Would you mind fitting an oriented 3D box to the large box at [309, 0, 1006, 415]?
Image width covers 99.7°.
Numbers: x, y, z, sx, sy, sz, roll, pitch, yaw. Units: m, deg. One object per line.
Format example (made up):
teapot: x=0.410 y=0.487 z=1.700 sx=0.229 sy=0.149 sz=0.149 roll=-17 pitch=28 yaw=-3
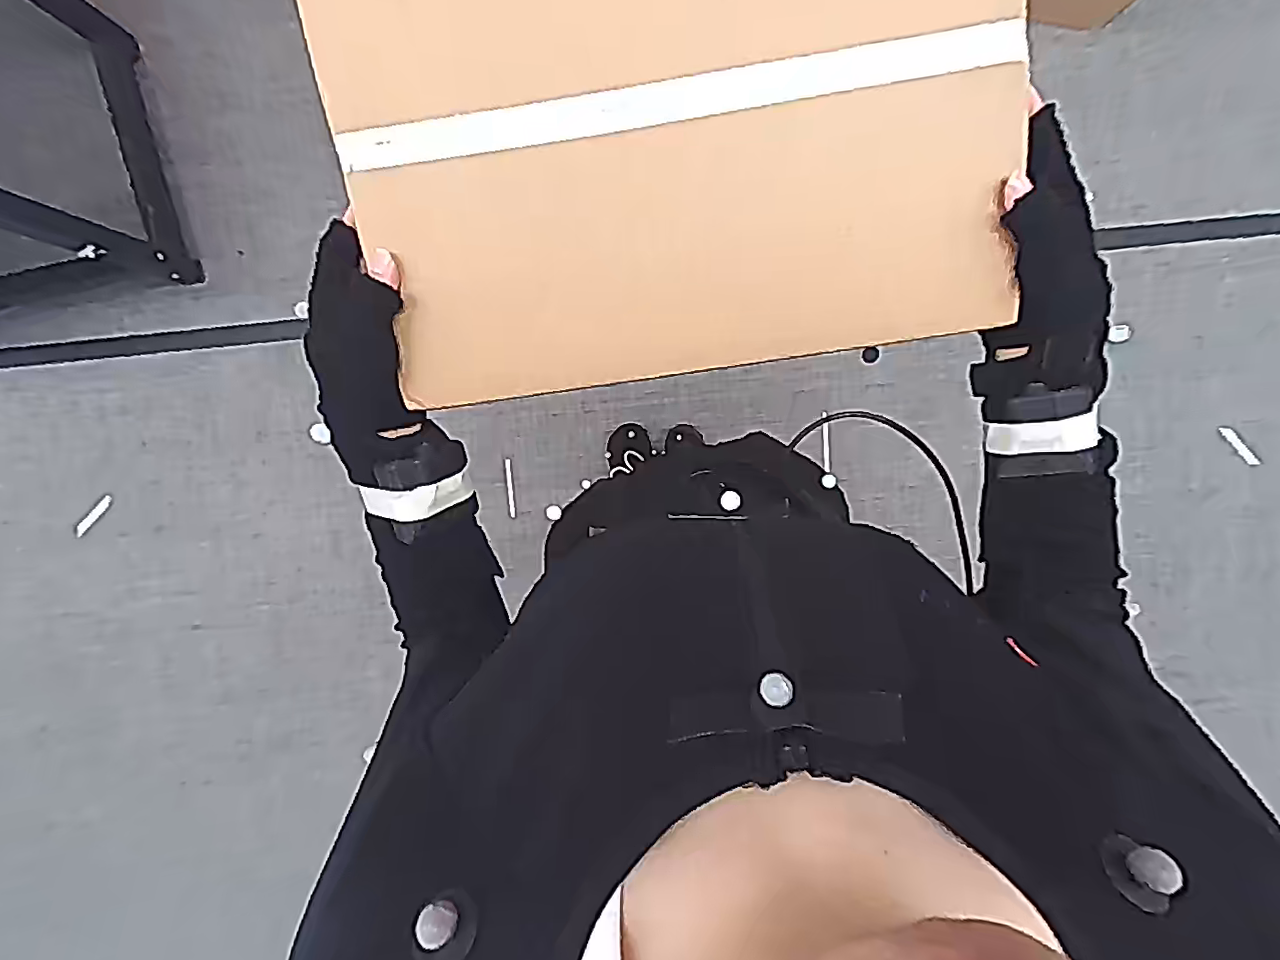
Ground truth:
large box: x=0.019 y=-0.261 z=0.470 sx=0.408 sy=0.320 sz=0.320 roll=-8 pitch=105 yaw=2
